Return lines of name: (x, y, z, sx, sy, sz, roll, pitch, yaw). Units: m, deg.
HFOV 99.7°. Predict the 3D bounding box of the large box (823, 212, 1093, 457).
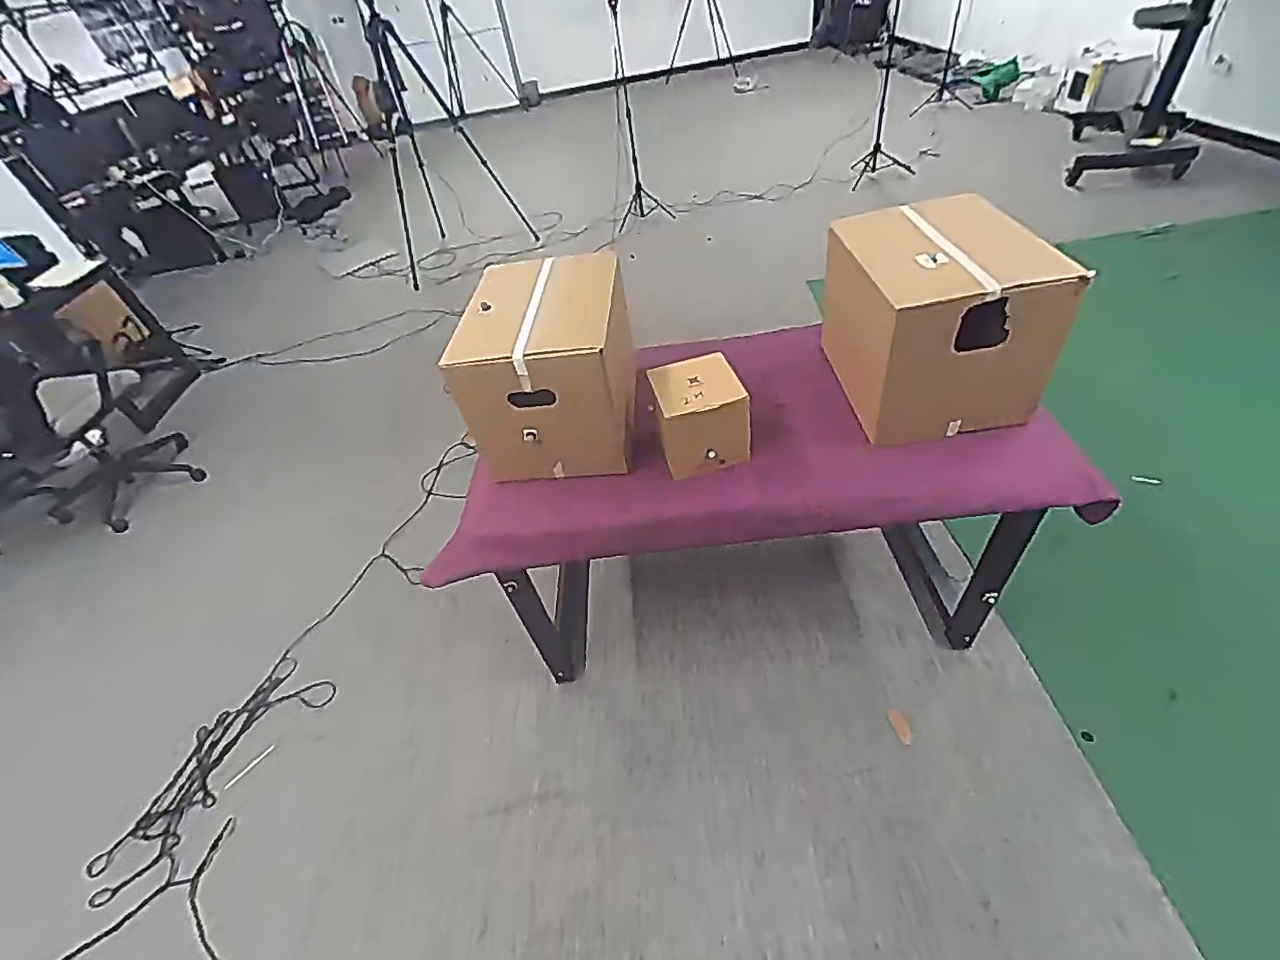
large box: (0.600, -0.309, 1.130, 0.320, 0.320, 0.408, -10, 44, 6)
